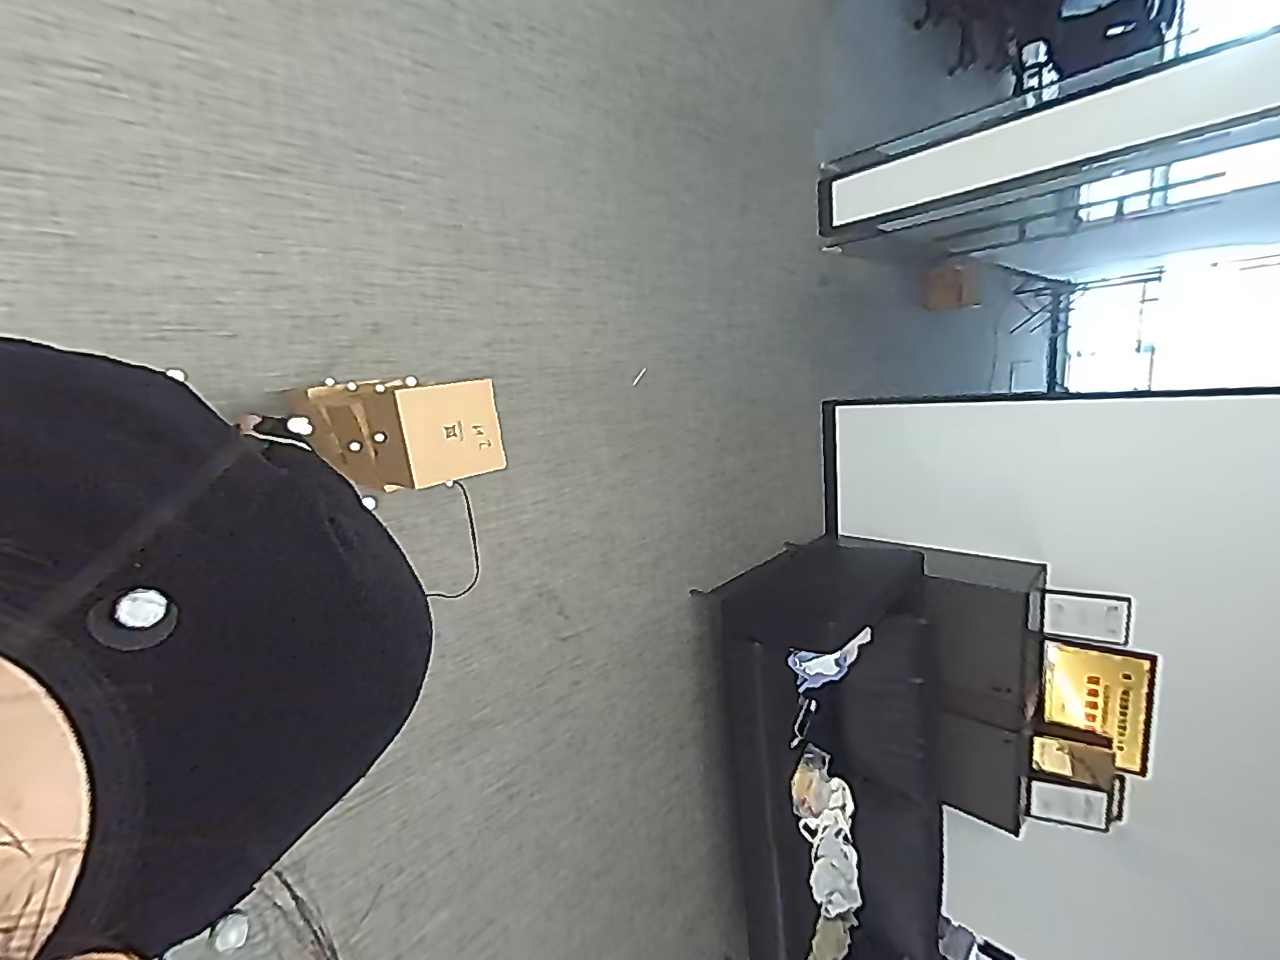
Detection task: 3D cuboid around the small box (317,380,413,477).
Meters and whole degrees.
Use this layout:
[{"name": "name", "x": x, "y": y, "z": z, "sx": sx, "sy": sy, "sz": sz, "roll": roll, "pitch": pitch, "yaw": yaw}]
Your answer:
[{"name": "small box", "x": -0.599, "y": -0.118, "z": 1.218, "sx": 0.179, "sy": 0.176, "sz": 0.168, "roll": -32, "pitch": 115, "yaw": -38}]

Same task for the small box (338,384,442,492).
[{"name": "small box", "x": -0.484, "y": -0.091, "z": 1.105, "sx": 0.168, "sy": 0.176, "sz": 0.179, "roll": -28, "pitch": 112, "yaw": -38}]

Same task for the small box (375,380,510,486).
[{"name": "small box", "x": -0.366, "y": -0.089, "z": 0.990, "sx": 0.179, "sy": 0.176, "sz": 0.168, "roll": -17, "pitch": 106, "yaw": -41}]
